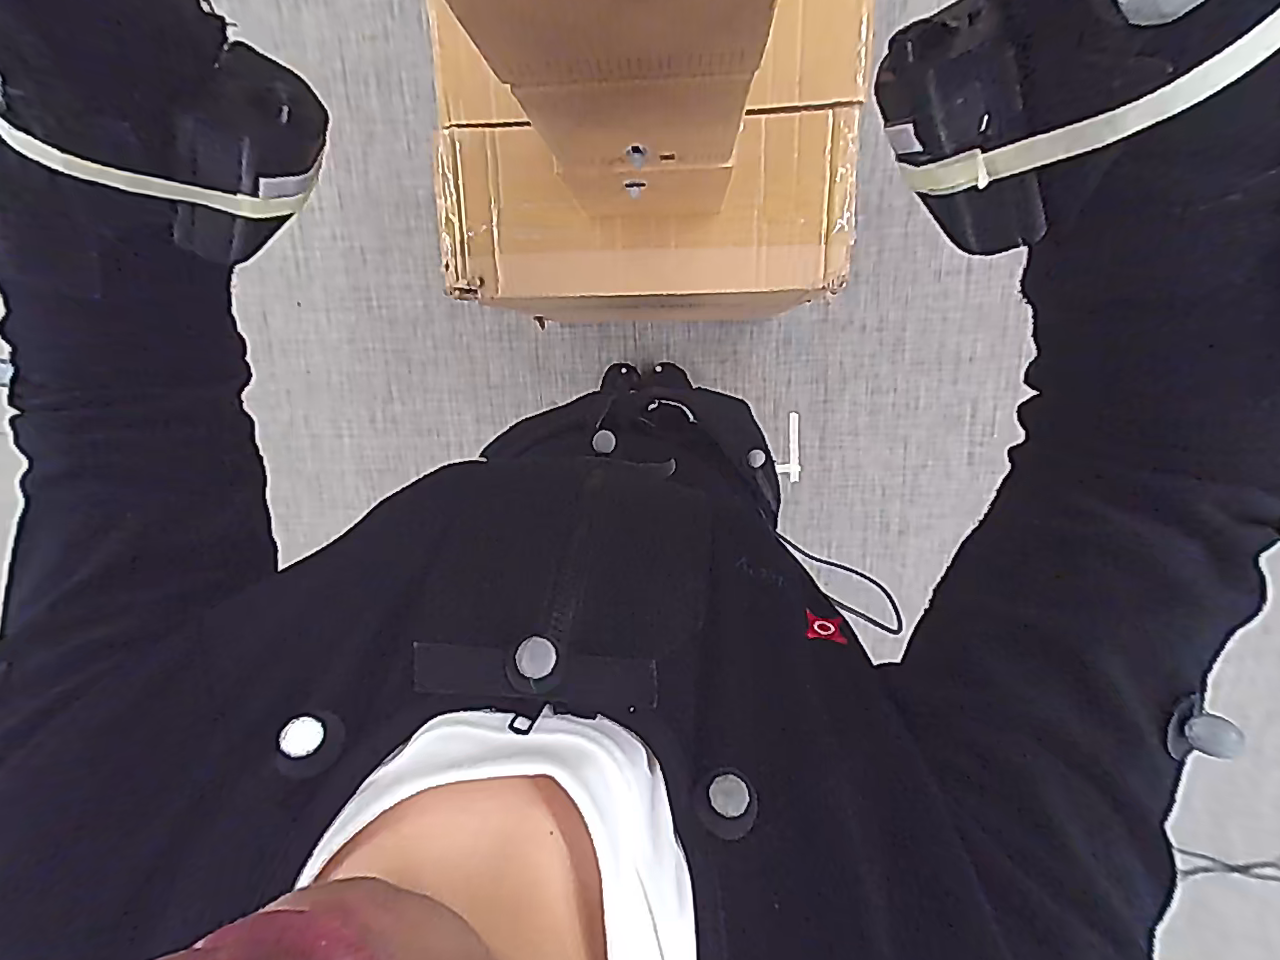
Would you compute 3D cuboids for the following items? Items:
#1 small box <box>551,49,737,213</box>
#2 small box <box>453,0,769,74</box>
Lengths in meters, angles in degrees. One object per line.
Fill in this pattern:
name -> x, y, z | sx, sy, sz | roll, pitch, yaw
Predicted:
small box -> 0.008, -0.395, 0.579 | 0.179, 0.176, 0.168 | 0, 103, 4
small box -> -0.014, -0.327, 0.257 | 0.179, 0.176, 0.168 | 0, 103, 4
